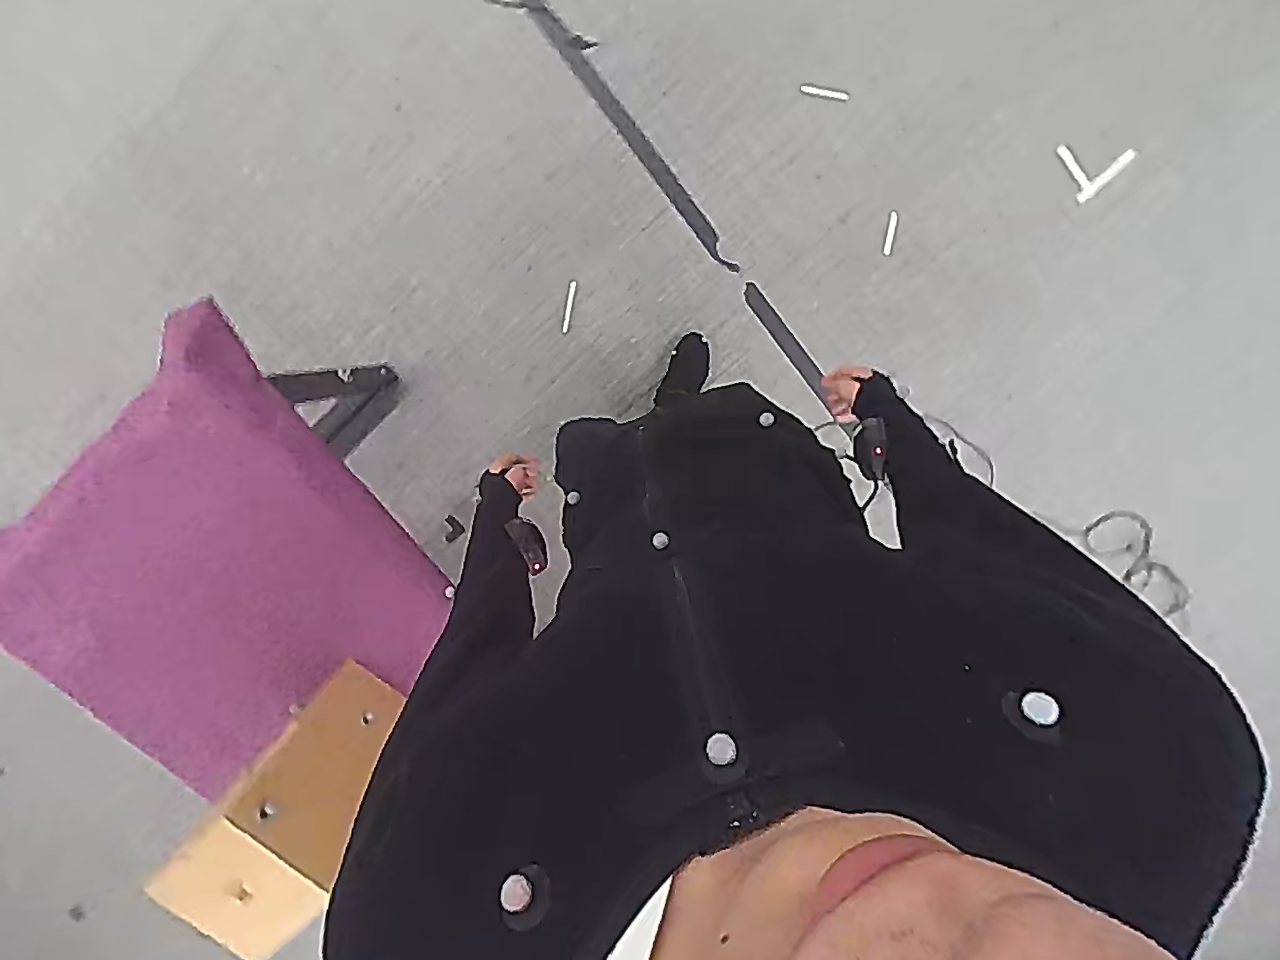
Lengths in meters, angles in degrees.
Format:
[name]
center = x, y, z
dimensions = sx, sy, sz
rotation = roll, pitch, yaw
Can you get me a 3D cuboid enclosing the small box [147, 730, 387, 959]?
[small box]
center = -0.493, 0.491, 0.746
dimensions = 0.168, 0.176, 0.179
rotation = -43, 100, 9
